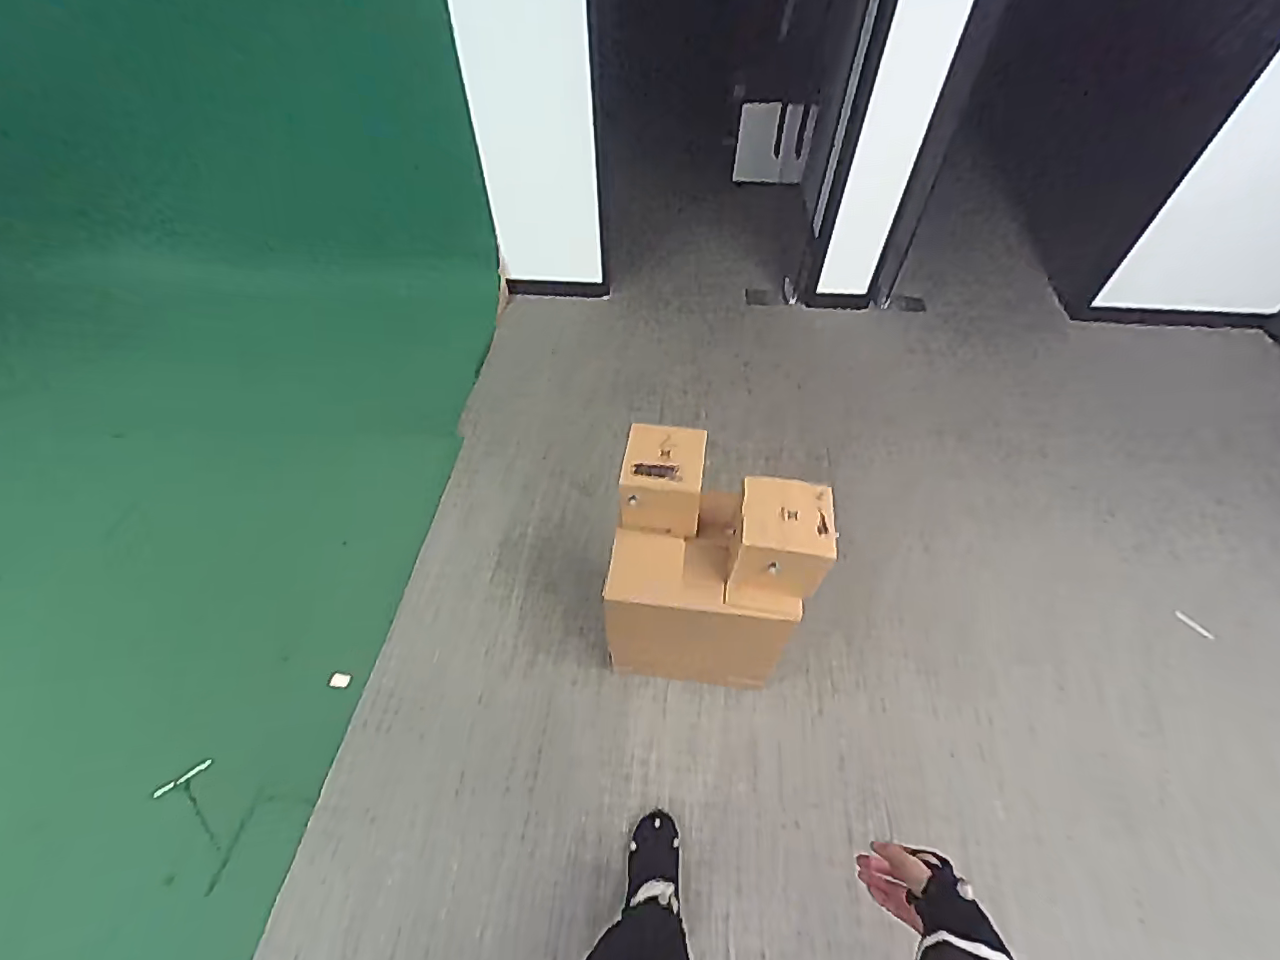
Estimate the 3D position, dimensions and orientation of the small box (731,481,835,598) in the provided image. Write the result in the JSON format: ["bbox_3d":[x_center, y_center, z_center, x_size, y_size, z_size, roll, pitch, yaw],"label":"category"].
[{"bbox_3d":[0.281,0.123,1.092,0.179,0.176,0.168,7,53,6],"label":"small box"}]
